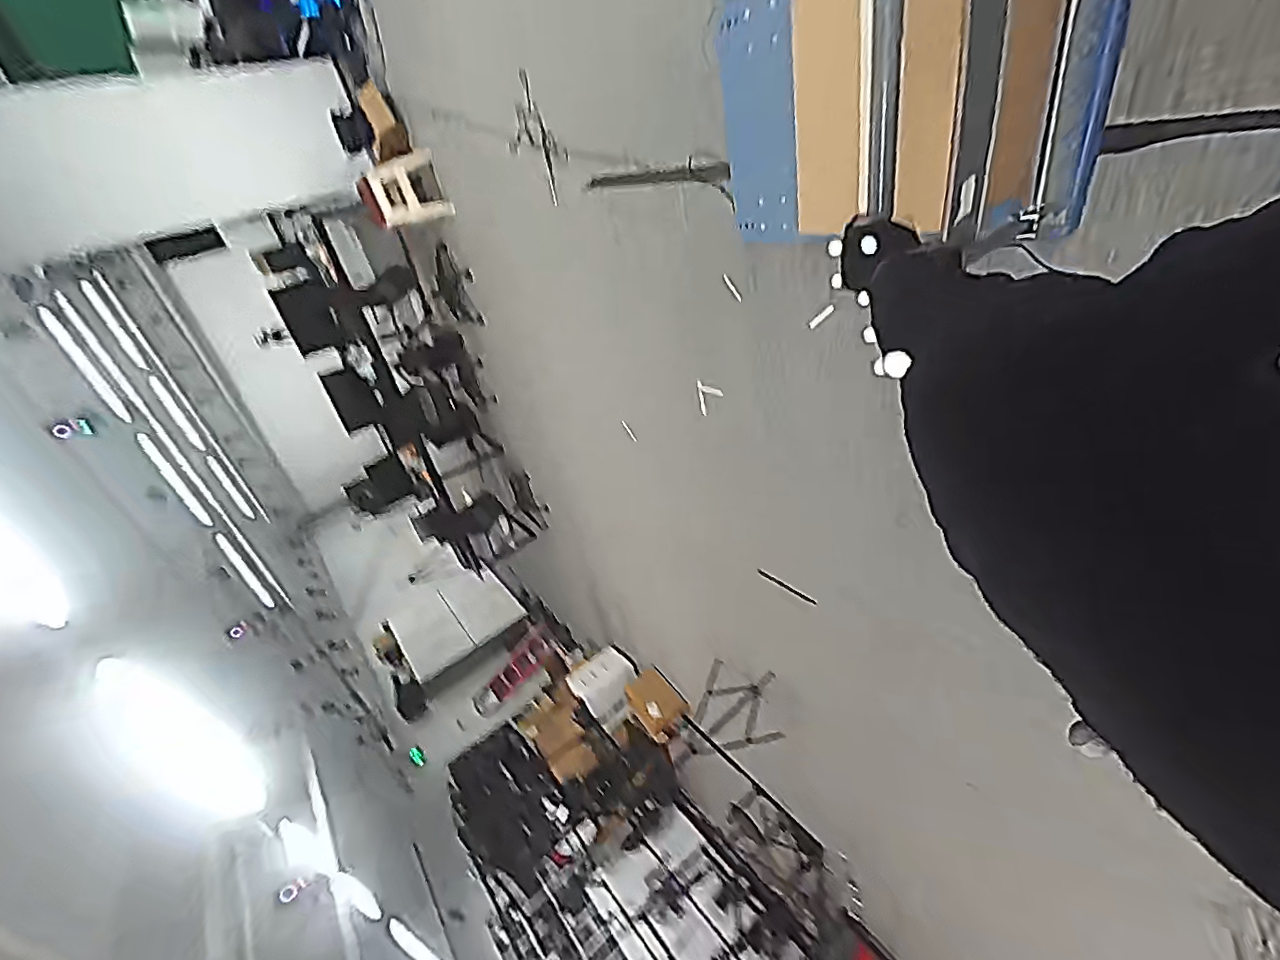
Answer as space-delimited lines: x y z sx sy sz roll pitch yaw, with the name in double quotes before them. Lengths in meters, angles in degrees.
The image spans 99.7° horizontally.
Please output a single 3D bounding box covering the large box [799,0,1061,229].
"large box" 0.523 -0.718 1.003 0.320 0.320 0.408 27 139 46
